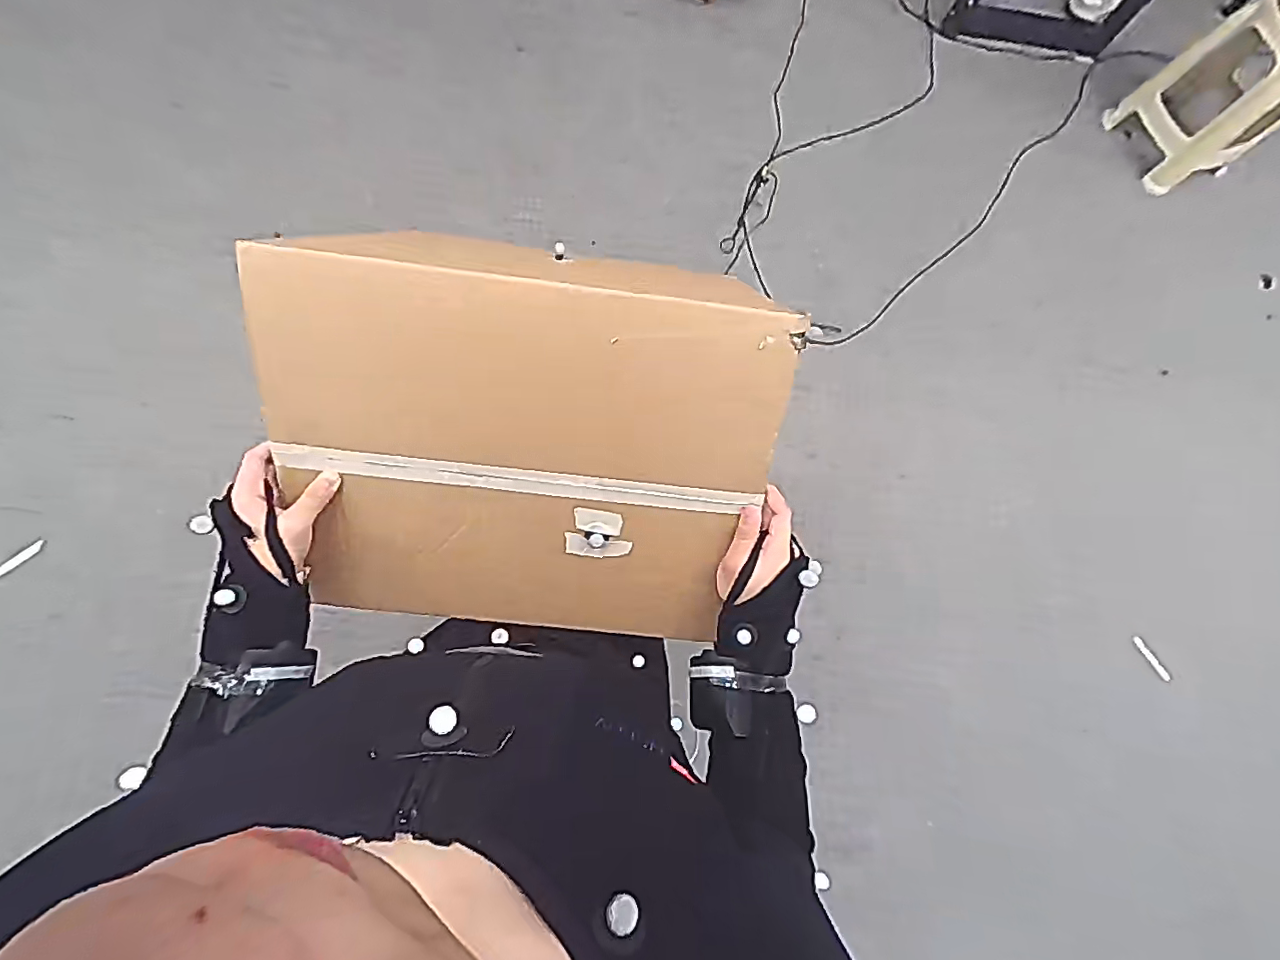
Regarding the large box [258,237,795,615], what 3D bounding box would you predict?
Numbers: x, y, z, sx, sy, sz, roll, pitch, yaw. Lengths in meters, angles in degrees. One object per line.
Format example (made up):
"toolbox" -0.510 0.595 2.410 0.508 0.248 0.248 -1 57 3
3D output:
"large box" -0.099 -0.080 0.597 0.408 0.320 0.320 5 117 -4
